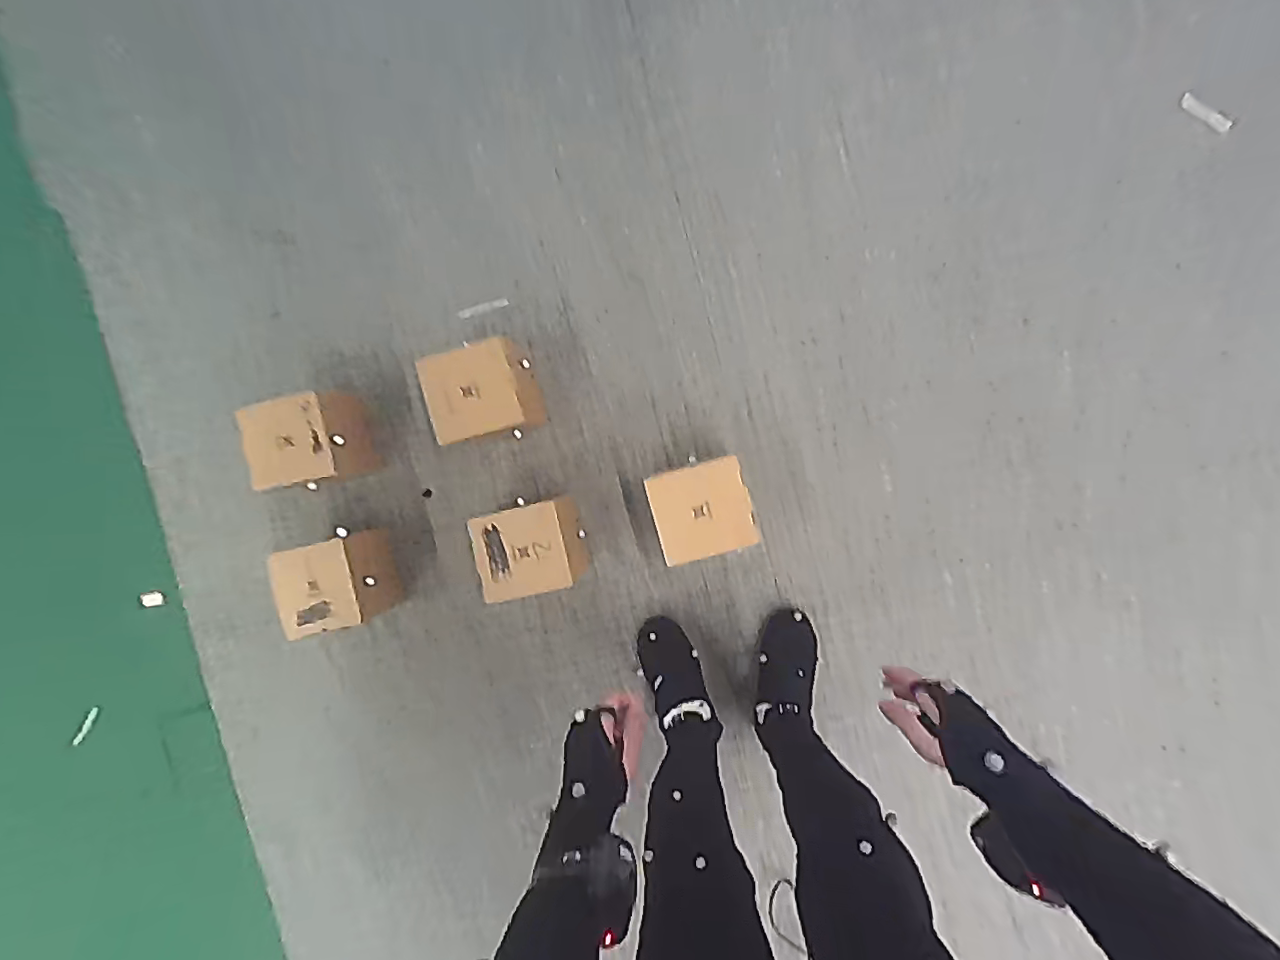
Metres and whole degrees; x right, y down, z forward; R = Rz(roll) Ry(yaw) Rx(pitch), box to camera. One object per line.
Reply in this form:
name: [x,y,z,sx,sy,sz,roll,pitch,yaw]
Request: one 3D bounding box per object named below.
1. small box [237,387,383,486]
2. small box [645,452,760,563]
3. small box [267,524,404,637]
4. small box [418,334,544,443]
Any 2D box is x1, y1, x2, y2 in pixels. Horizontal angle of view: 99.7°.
small box: [-0.666,-0.085,1.108,0.179,0.176,0.168,-11,92,7]
small box: [0.119,0.048,1.042,0.179,0.176,0.168,-16,92,5]
small box: [-0.619,0.201,1.121,0.168,0.176,0.179,-13,91,6]
small box: [-0.301,-0.173,1.068,0.179,0.176,0.168,-14,91,7]
